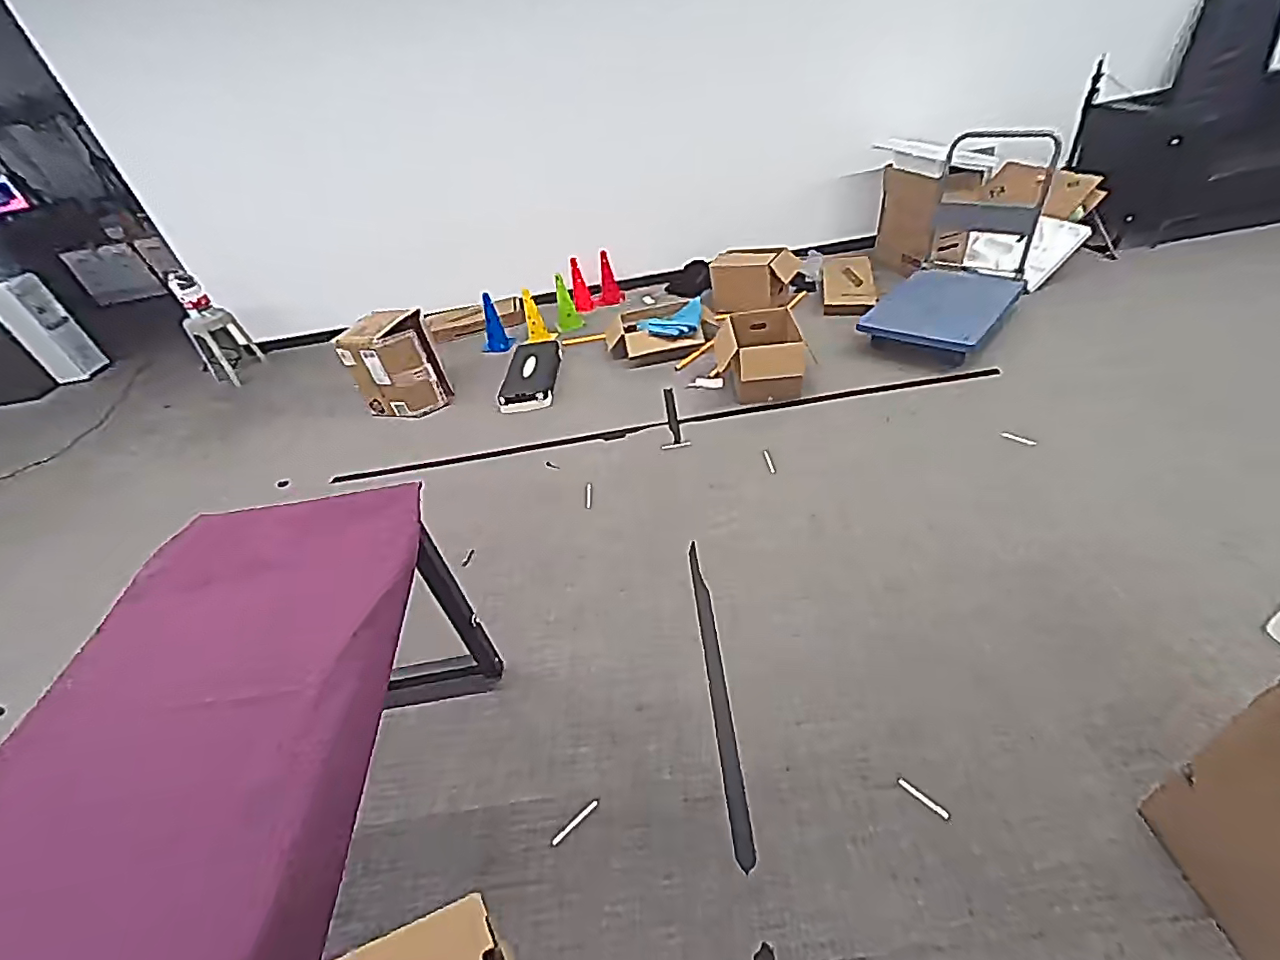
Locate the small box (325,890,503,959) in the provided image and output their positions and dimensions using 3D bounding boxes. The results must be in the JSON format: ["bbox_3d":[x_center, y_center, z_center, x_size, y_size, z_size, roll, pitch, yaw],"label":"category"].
[{"bbox_3d":[-0.240,0.585,0.552,0.179,0.176,0.168,5,28,-42],"label":"small box"}]
